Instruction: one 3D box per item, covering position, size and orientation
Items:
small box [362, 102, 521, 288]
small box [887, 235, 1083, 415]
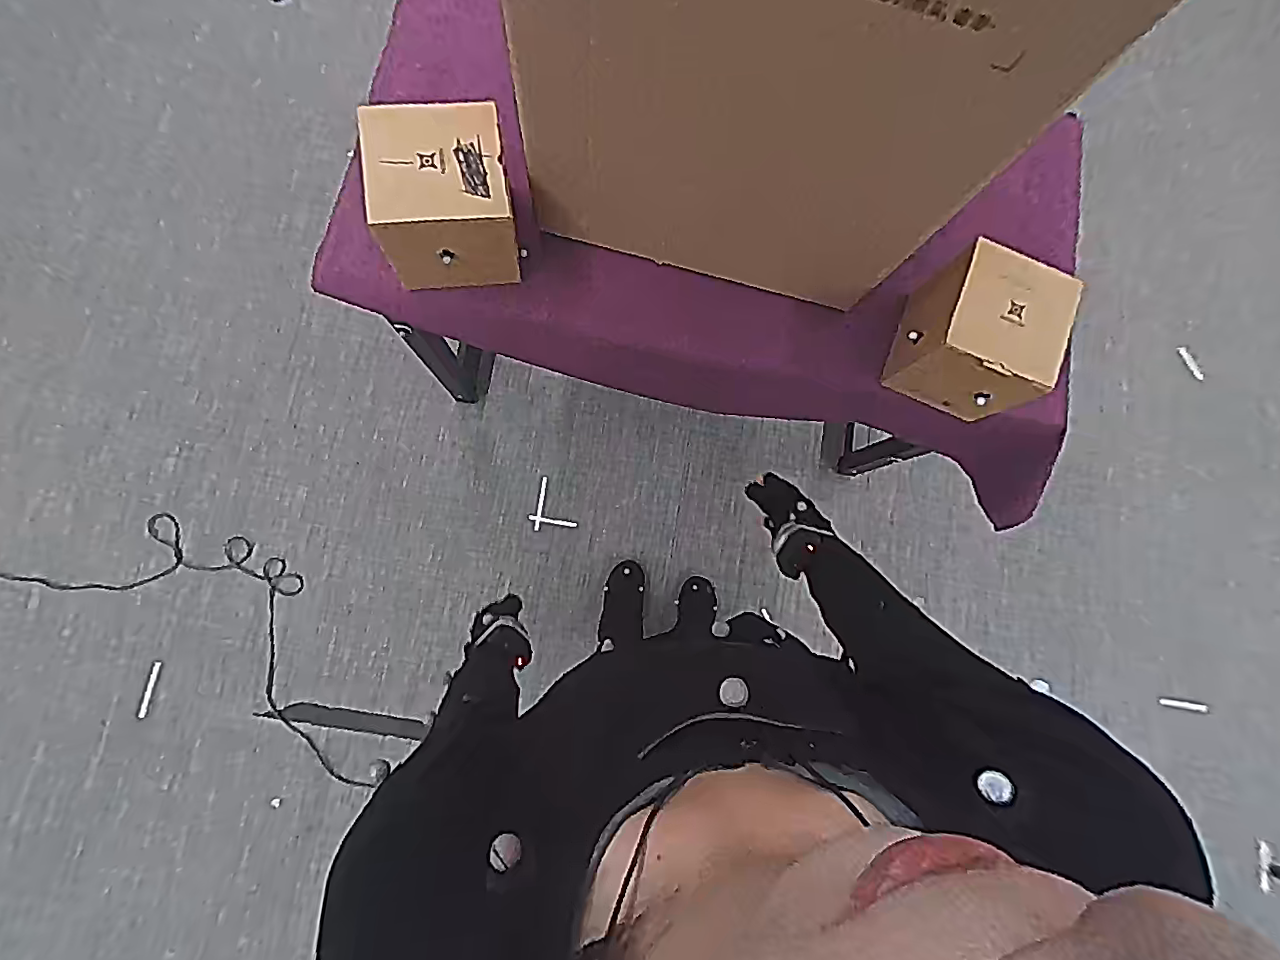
[{"bbox_3d":[-0.265,-0.390,0.760,0.179,0.176,0.168,-7,82,-8],"label":"small box"},{"bbox_3d":[0.504,-0.219,0.813,0.168,0.176,0.179,22,79,-3],"label":"small box"}]
